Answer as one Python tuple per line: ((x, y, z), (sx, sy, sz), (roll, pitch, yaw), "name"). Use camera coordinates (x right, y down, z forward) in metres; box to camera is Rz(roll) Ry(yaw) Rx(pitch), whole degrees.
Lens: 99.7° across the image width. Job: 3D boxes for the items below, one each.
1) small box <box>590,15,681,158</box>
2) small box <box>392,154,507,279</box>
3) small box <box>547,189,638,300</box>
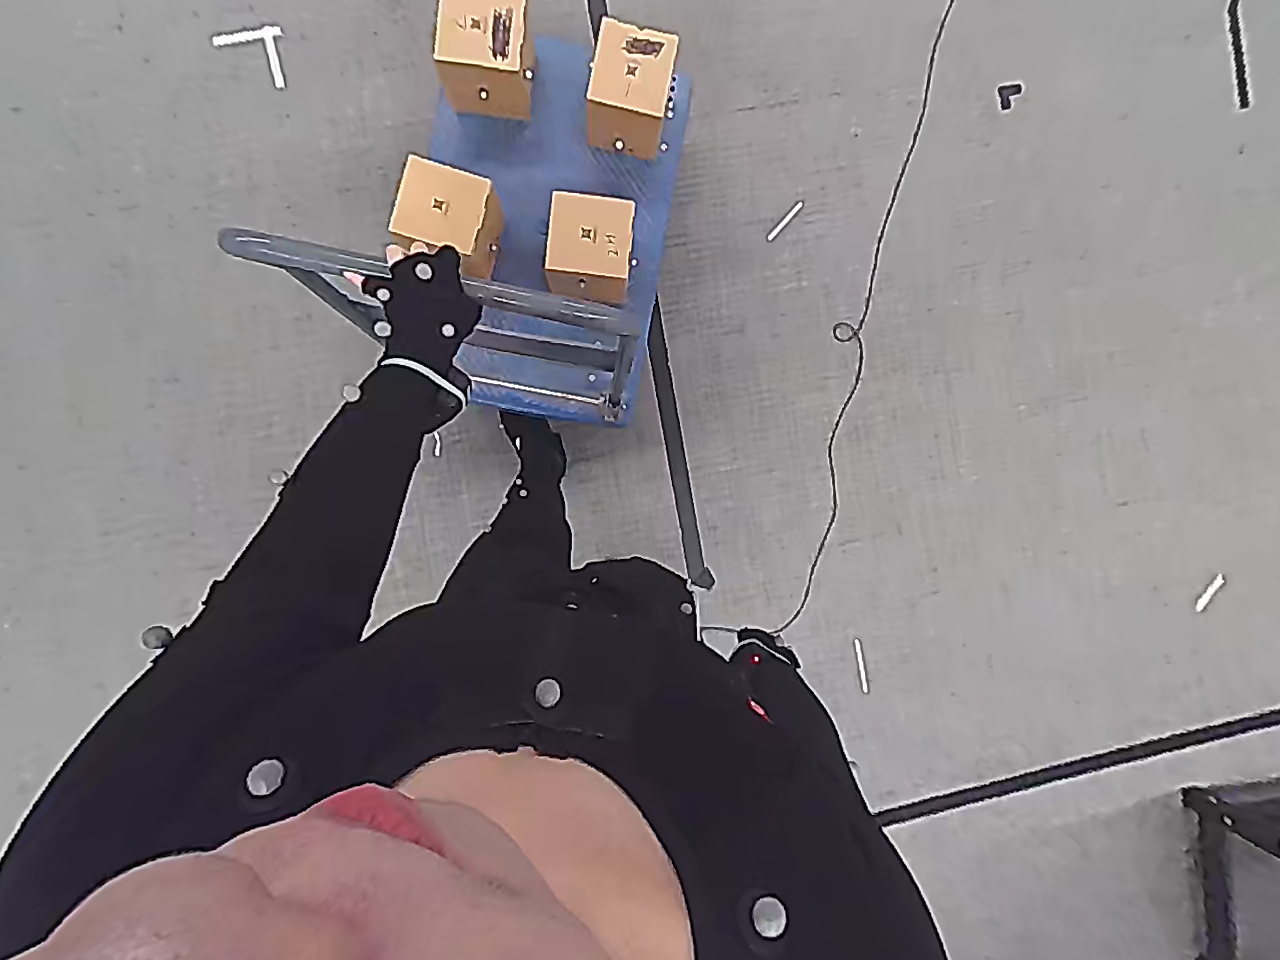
((-0.015, -0.863, 1.203), (0.168, 0.176, 0.179), (11, 91, -4), "small box")
((-0.407, -0.563, 1.182), (0.179, 0.176, 0.168), (15, 89, -5), "small box")
((-0.103, -0.513, 1.202), (0.179, 0.176, 0.168), (6, 91, -4), "small box")
